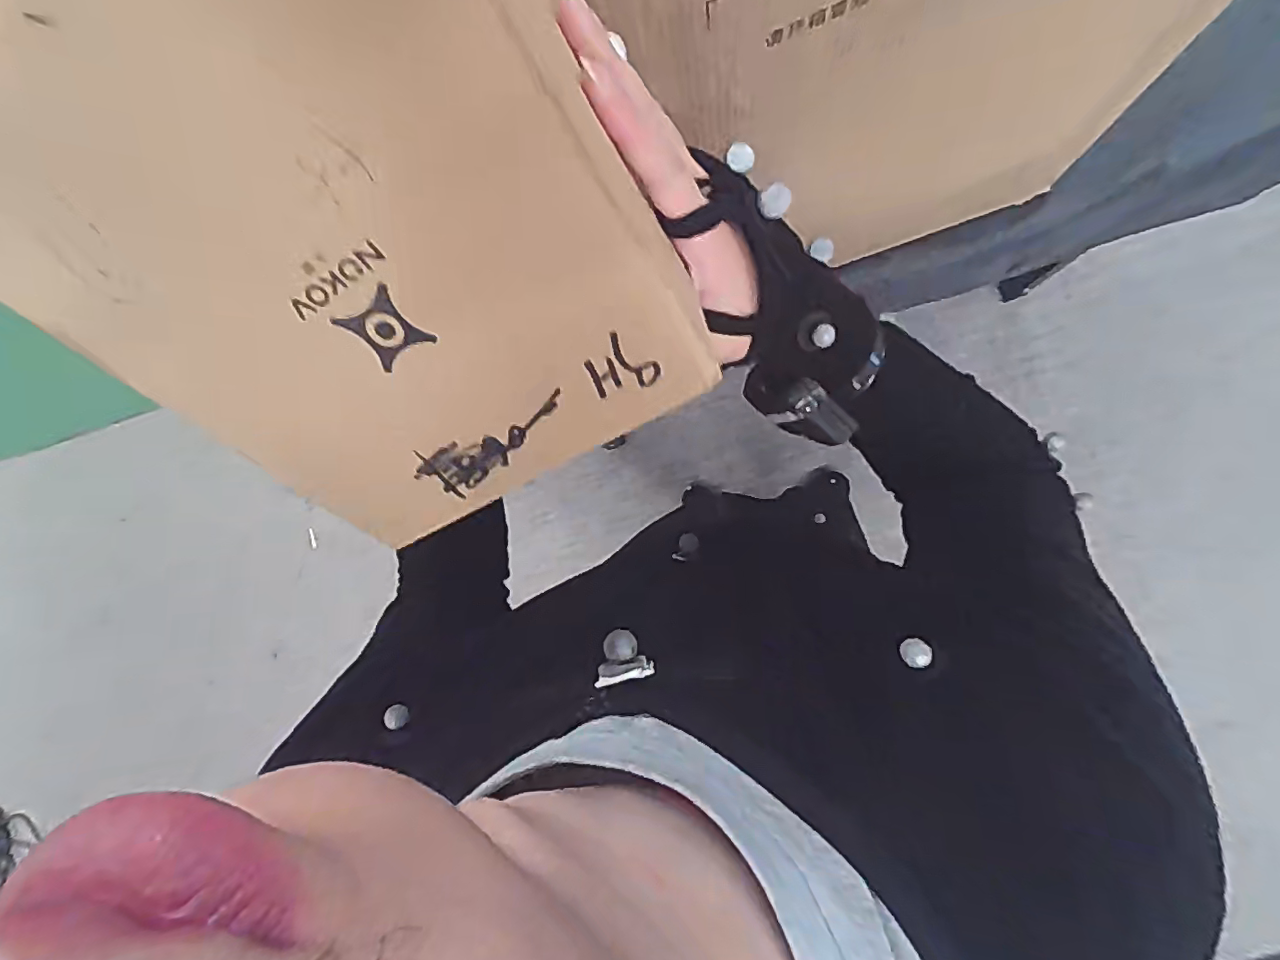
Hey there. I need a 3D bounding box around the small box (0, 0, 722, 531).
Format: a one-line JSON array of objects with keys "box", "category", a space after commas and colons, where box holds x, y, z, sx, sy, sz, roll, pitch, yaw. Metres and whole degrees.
[{"box": [-0.085, -0.115, 0.225, 0.168, 0.179, 0.176, -24, 40, 19], "category": "small box"}]
